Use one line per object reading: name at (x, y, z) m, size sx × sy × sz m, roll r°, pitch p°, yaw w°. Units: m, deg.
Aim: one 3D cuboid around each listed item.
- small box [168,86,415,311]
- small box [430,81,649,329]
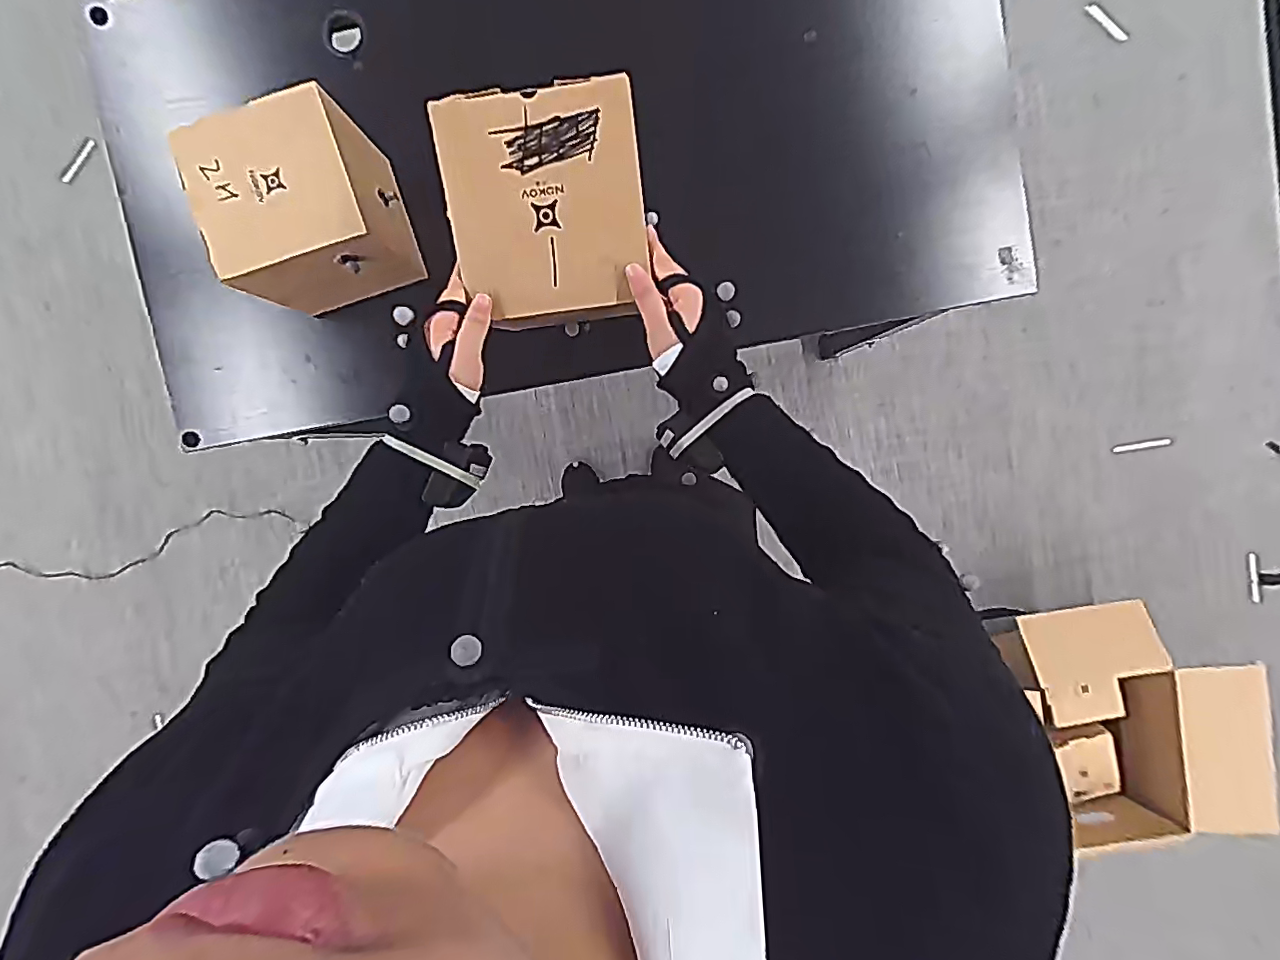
small box at (-0.402, -0.326, 0.664) m, size 0.179 × 0.176 × 0.168 m, roll -18°, pitch 94°, yaw 2°
small box at (-0.084, -0.251, 0.537) m, size 0.168 × 0.176 × 0.179 m, roll -7°, pitch 104°, yaw 1°
